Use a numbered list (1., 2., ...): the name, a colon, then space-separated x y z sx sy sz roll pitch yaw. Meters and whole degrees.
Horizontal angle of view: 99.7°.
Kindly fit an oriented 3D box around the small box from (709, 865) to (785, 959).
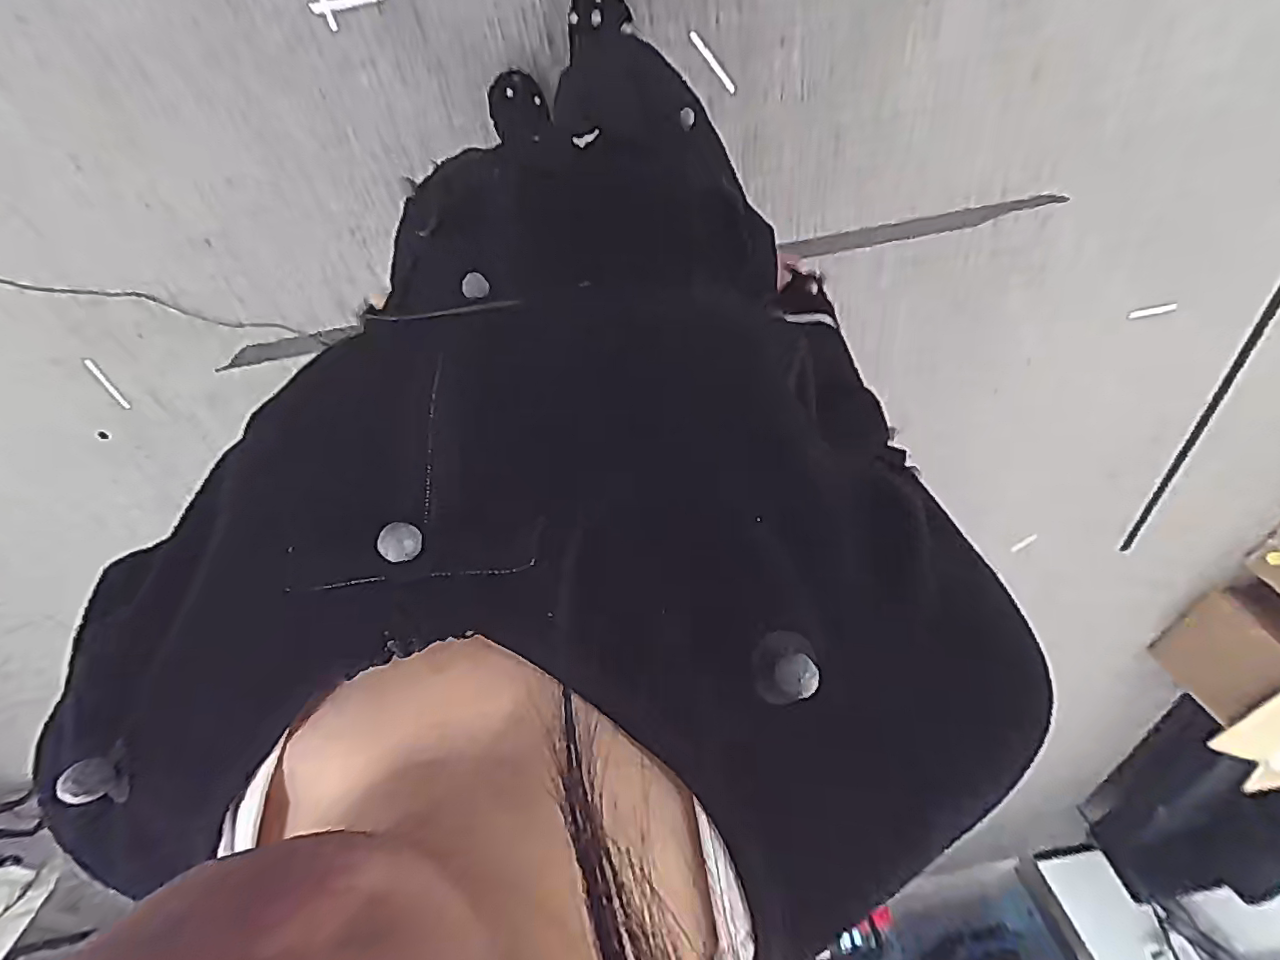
1. small box: 0.296 1.219 1.532 0.168 0.176 0.179 -10 132 -4

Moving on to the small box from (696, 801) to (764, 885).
1. small box: 0.272 1.118 1.659 0.168 0.176 0.179 -11 130 -4

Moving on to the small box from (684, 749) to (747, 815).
1. small box: 0.246 1.008 1.778 0.168 0.176 0.179 -11 129 -3
